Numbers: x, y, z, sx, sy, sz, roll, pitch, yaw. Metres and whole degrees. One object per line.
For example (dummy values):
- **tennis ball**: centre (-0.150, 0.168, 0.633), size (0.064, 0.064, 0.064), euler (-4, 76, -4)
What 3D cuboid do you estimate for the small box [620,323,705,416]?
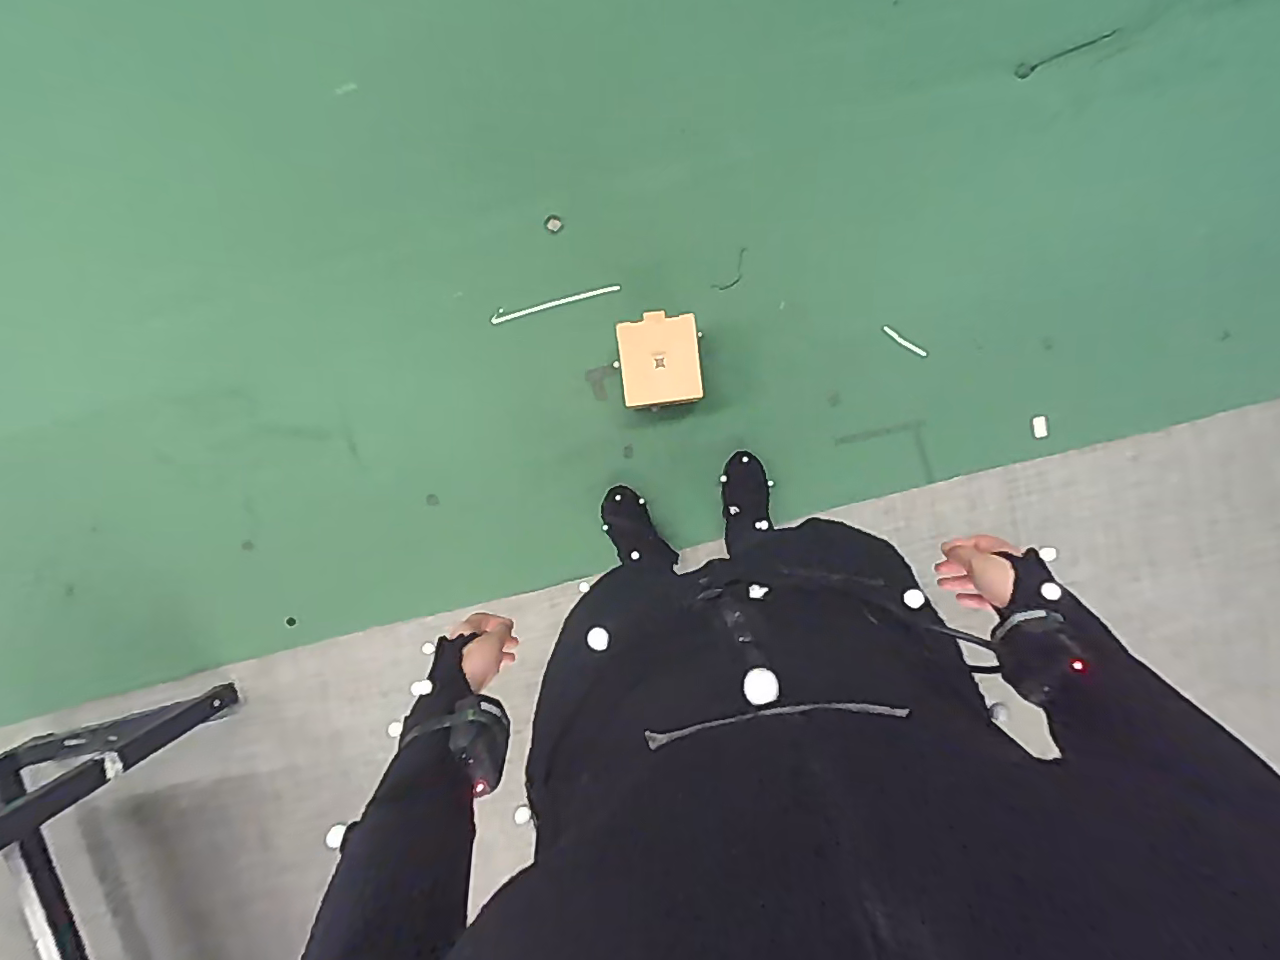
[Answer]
- **small box**: centre (0.051, -0.238, 1.210), size (0.168, 0.176, 0.179), euler (-7, 94, 2)
